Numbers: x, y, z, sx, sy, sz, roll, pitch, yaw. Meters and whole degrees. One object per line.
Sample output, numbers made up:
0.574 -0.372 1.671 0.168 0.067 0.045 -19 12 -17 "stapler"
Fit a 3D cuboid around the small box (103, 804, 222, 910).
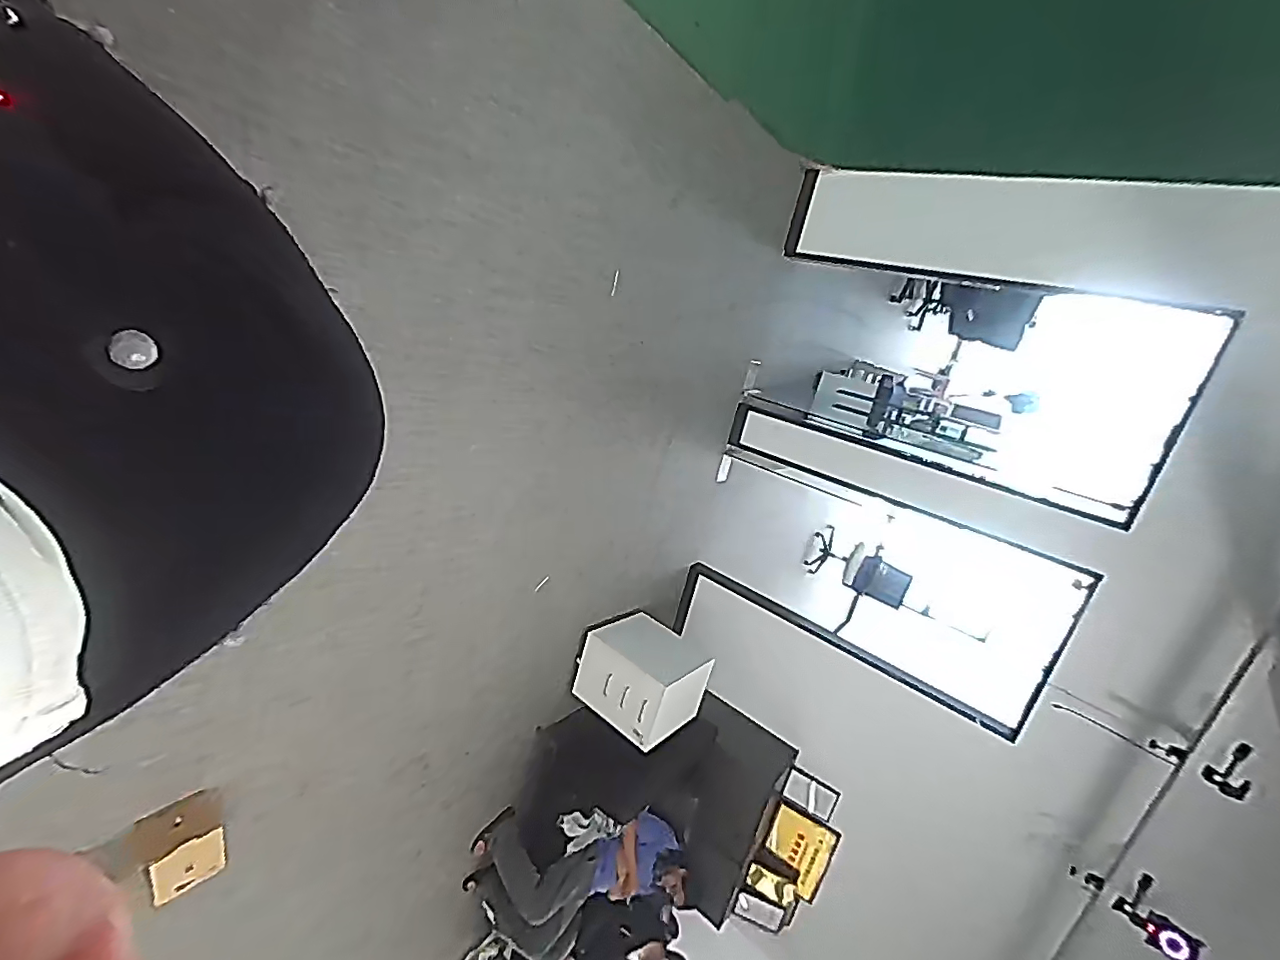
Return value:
-1.371 1.079 1.555 0.179 0.176 0.168 -45 145 -32 "small box"
